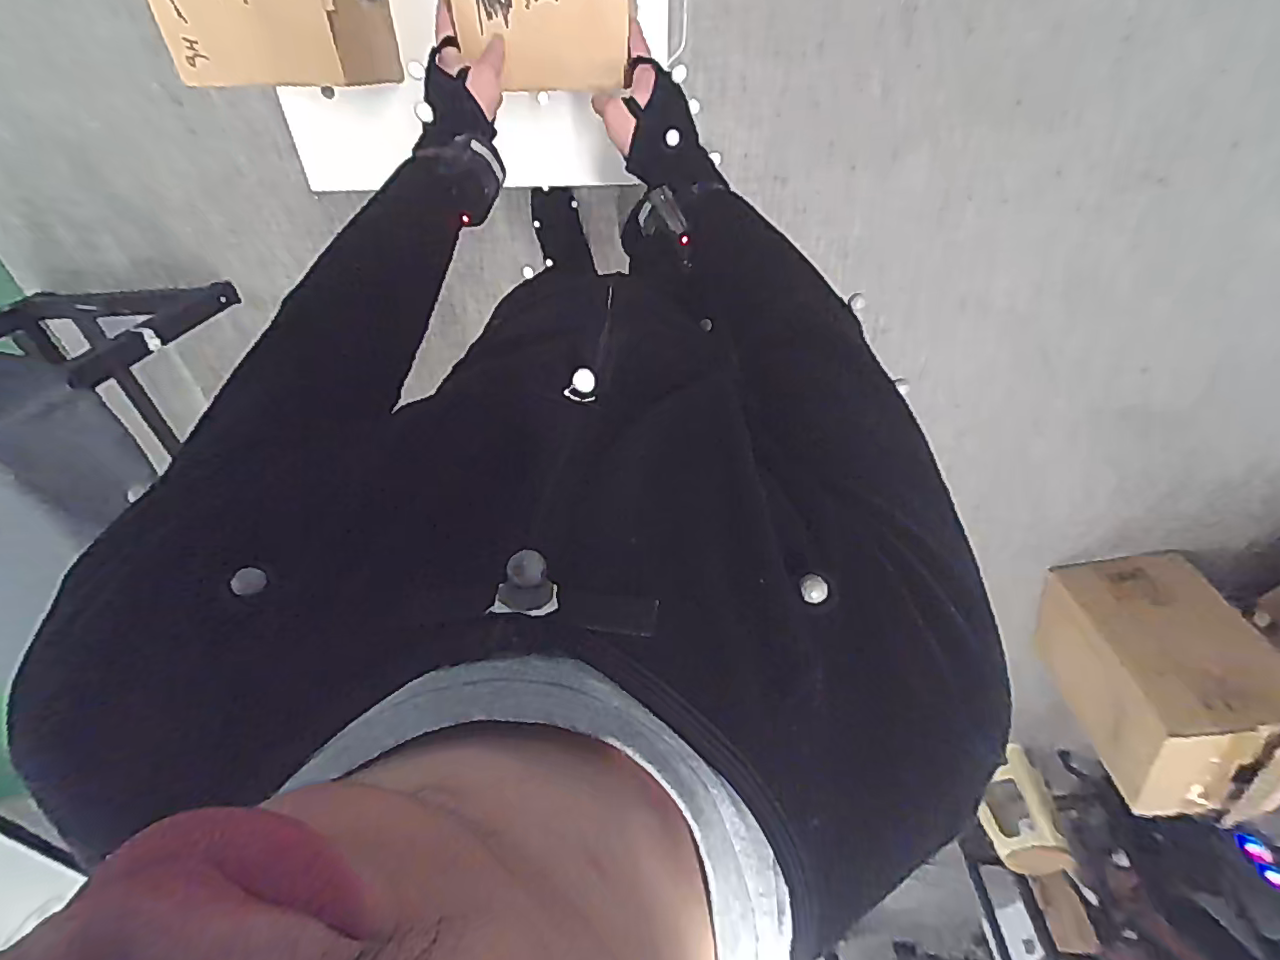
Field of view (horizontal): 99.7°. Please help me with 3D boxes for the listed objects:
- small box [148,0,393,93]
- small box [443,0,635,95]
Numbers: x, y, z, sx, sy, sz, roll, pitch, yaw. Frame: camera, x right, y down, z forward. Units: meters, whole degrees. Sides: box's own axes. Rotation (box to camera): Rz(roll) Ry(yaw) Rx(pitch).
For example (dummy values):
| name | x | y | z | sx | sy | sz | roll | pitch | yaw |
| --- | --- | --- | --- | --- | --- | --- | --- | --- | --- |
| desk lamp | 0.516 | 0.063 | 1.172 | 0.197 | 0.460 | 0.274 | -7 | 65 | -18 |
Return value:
| name | x | y | z | sx | sy | sz | roll | pitch | yaw |
| --- | --- | --- | --- | --- | --- | --- | --- | --- | --- |
| small box | -0.385 | -0.517 | 0.573 | 0.179 | 0.176 | 0.168 | 0 | 128 | 1 |
| small box | -0.097 | -0.507 | 0.565 | 0.179 | 0.176 | 0.168 | 1 | 129 | 2 |
